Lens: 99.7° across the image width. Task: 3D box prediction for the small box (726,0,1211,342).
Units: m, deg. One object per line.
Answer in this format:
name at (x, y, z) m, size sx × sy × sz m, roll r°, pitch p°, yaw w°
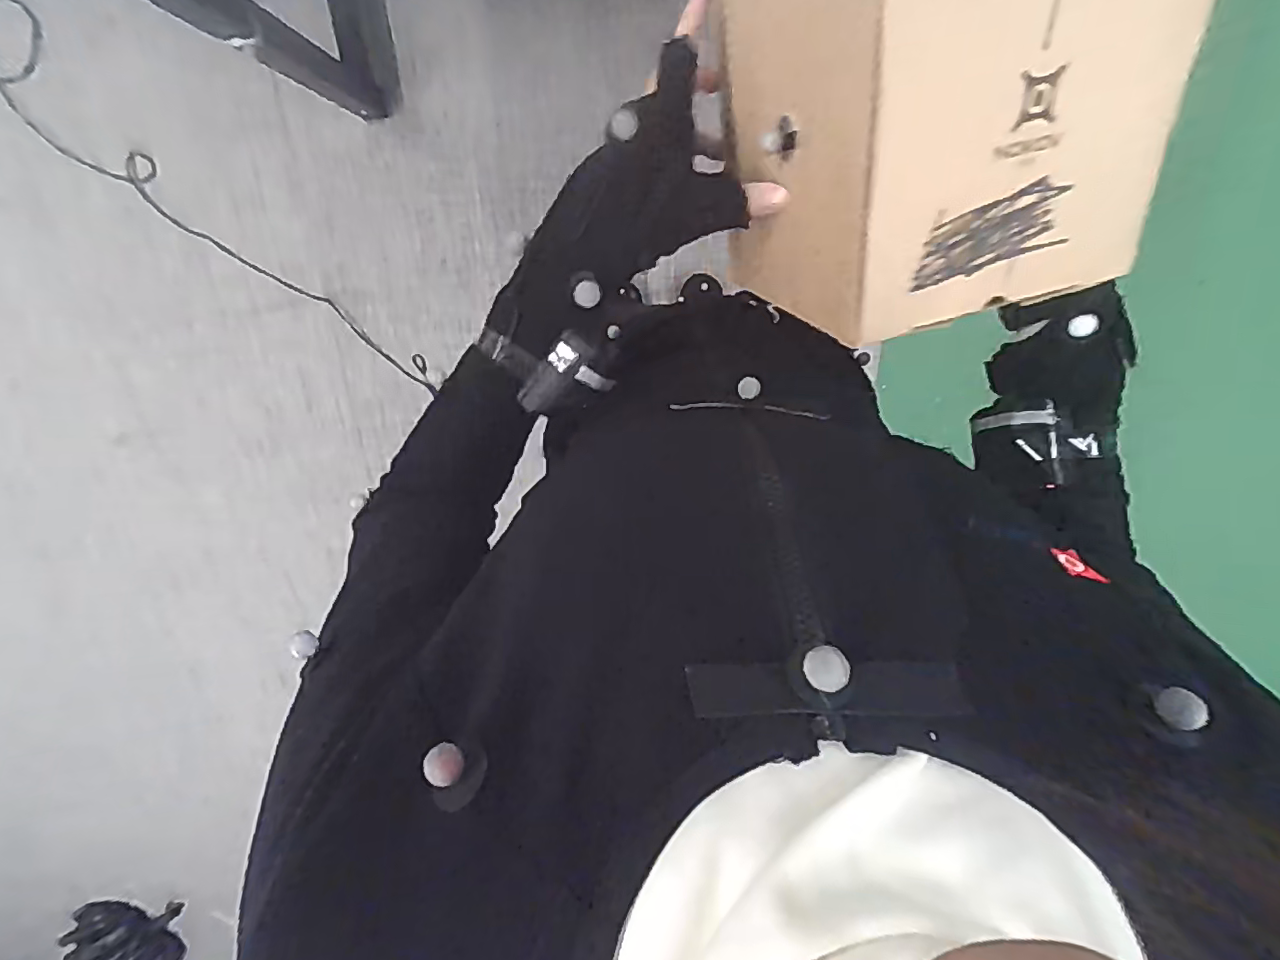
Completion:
small box at (0.160, -0.204, 0.319) m, size 0.168 × 0.176 × 0.179 m, roll -16°, pitch 123°, yaw -8°
